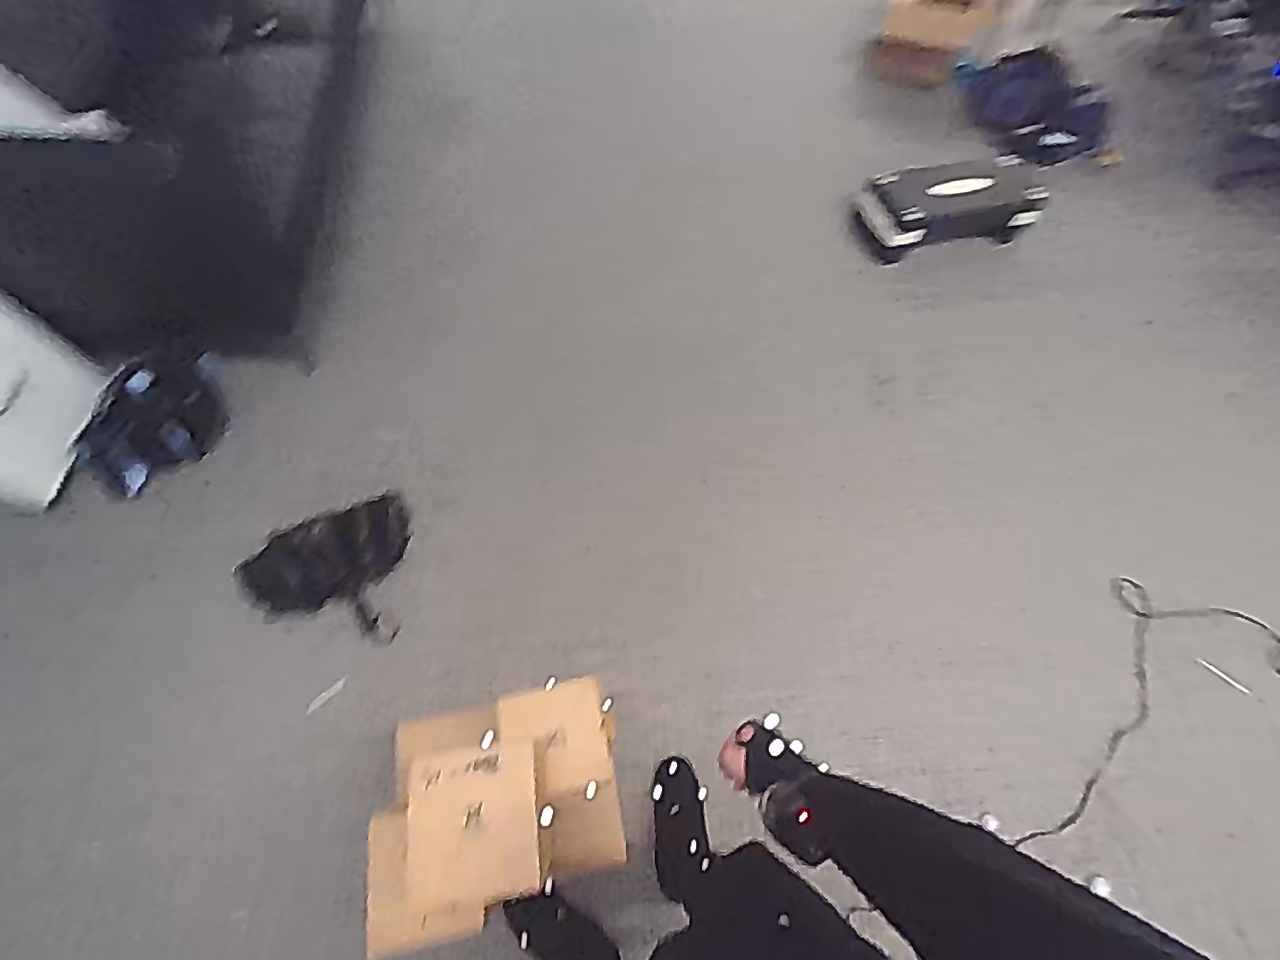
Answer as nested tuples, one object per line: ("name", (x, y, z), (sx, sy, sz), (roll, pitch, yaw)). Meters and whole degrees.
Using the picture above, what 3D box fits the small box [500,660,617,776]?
("small box", (-0.146, 0.440, 0.987), (0.179, 0.176, 0.168), (-12, 65, -8))

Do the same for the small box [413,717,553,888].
("small box", (-0.221, 0.455, 0.792), (0.168, 0.176, 0.179), (-6, 68, -7))

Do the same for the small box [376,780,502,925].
("small box", (-0.325, 0.593, 0.904), (0.168, 0.176, 0.179), (-7, 69, -8))
